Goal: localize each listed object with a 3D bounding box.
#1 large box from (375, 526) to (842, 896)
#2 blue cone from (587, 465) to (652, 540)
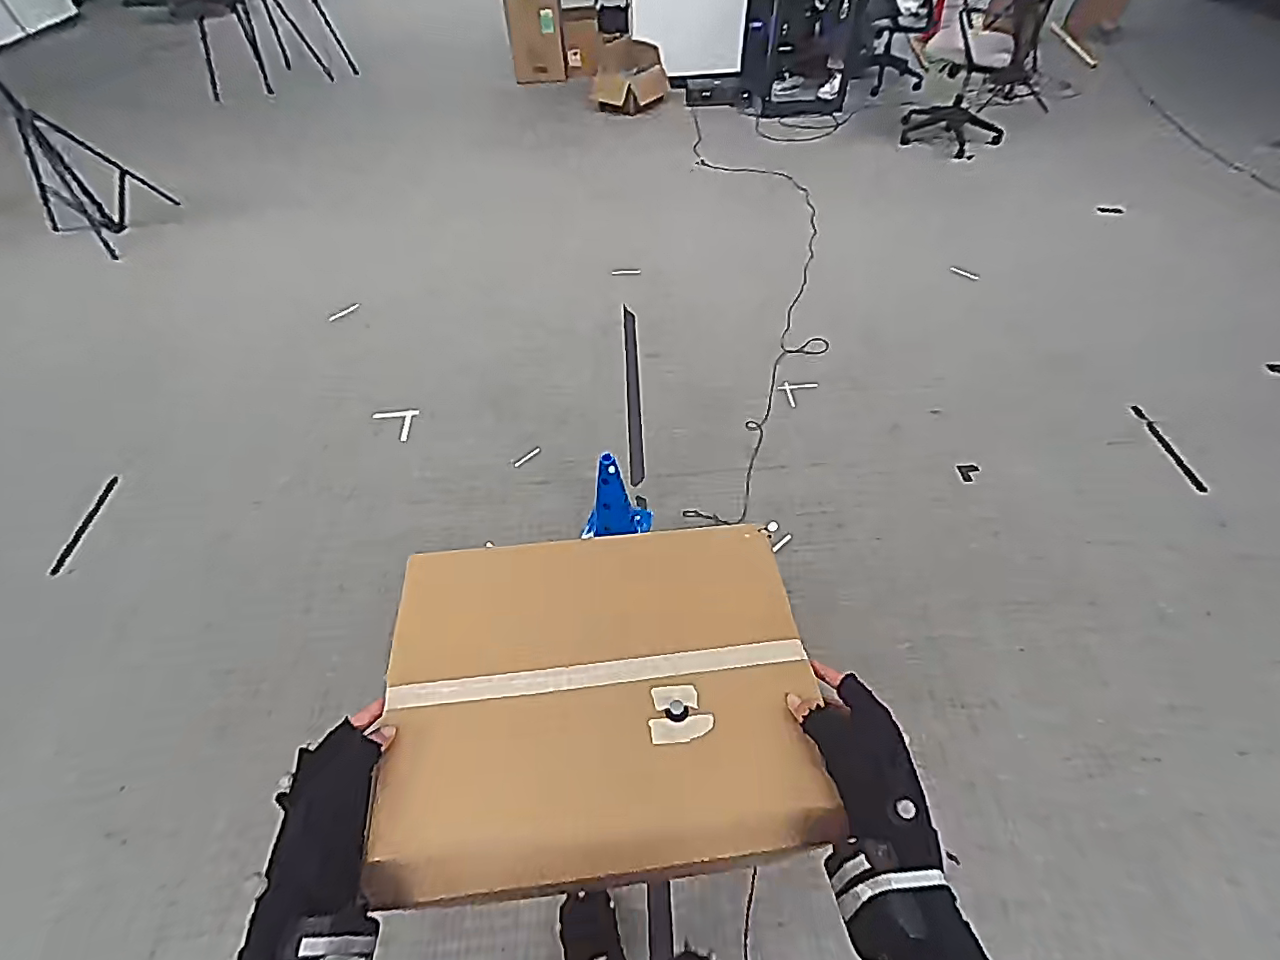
[{"bbox_3d":[-0.040,0.282,0.657,0.408,0.320,0.320,-4,52,-5],"label":"large box"},{"bbox_3d":[-0.074,0.078,1.601,0.193,0.380,0.192,13,54,13],"label":"blue cone"}]
